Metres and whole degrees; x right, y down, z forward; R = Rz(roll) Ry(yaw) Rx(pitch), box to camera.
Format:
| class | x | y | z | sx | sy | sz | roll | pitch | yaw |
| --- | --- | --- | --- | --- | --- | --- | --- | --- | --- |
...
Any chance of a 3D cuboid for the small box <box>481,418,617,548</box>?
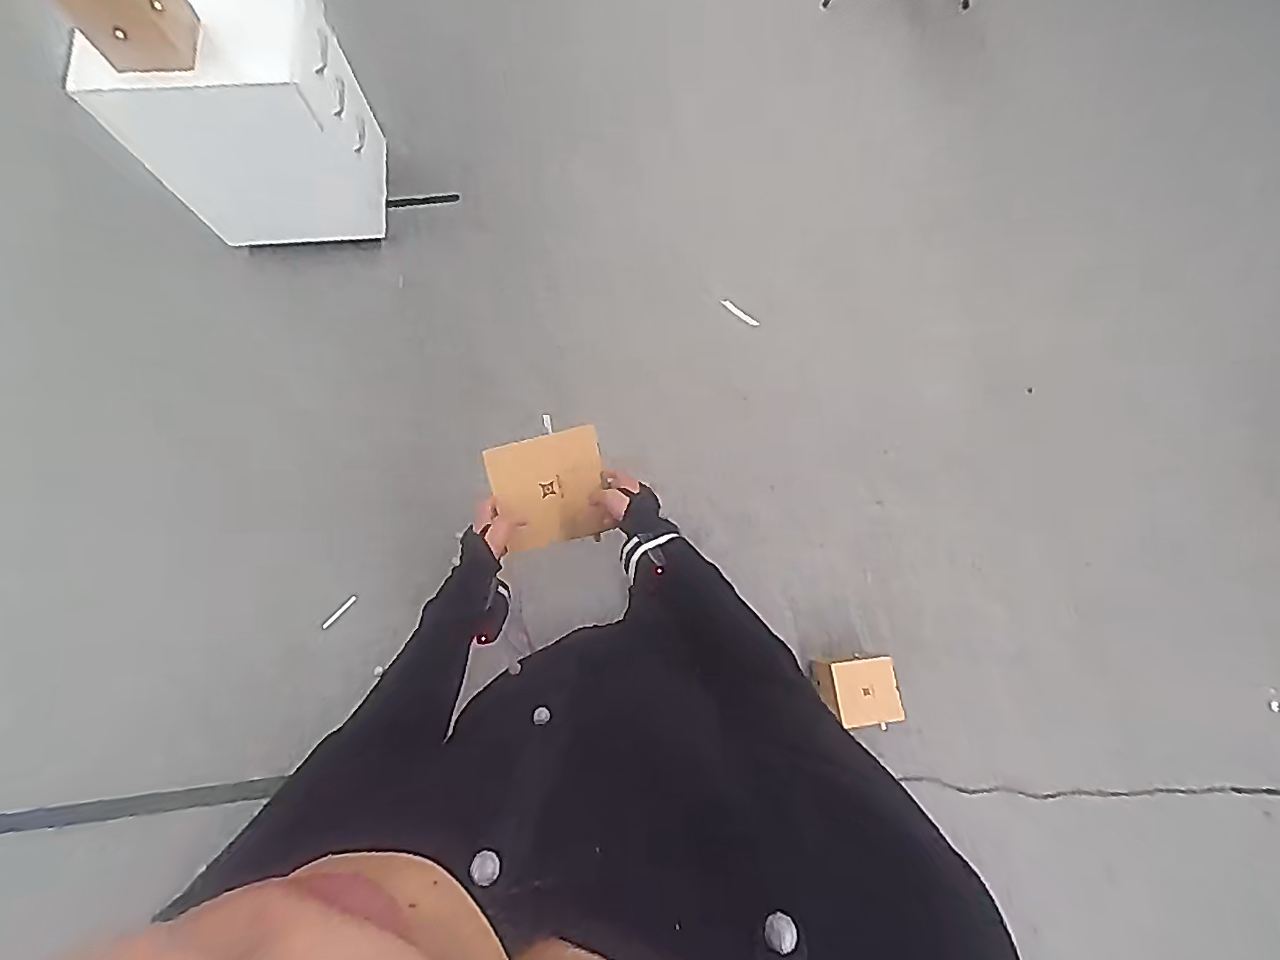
| class | x | y | z | sx | sy | sz | roll | pitch | yaw |
| --- | --- | --- | --- | --- | --- | --- | --- | --- | --- |
| small box | -0.141 | 0.009 | 0.896 | 0.179 | 0.176 | 0.168 | -16 | 89 | -4 |

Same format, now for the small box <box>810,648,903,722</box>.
| class | x | y | z | sx | sy | sz | roll | pitch | yaw |
| --- | --- | --- | --- | --- | --- | --- | --- | --- | --- |
| small box | 0.605 | 0.573 | 1.532 | 0.179 | 0.176 | 0.168 | -6 | 76 | -4 |
